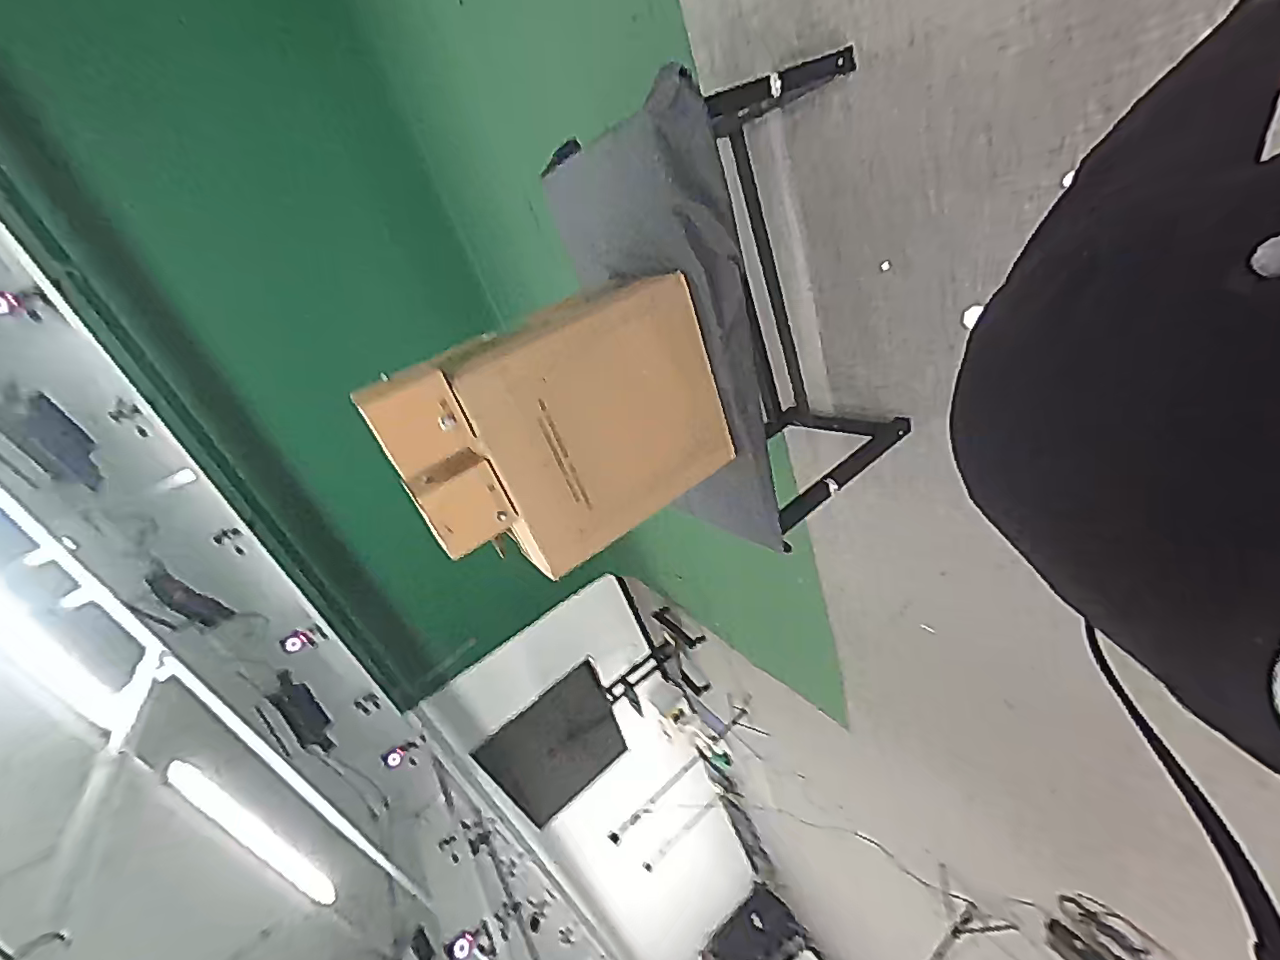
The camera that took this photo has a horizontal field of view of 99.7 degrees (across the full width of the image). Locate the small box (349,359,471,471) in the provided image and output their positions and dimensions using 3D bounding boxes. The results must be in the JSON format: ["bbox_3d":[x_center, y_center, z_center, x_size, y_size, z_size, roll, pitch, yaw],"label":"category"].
[{"bbox_3d":[-0.482,-0.145,1.143,0.179,0.176,0.168,23,140,53],"label":"small box"}]
